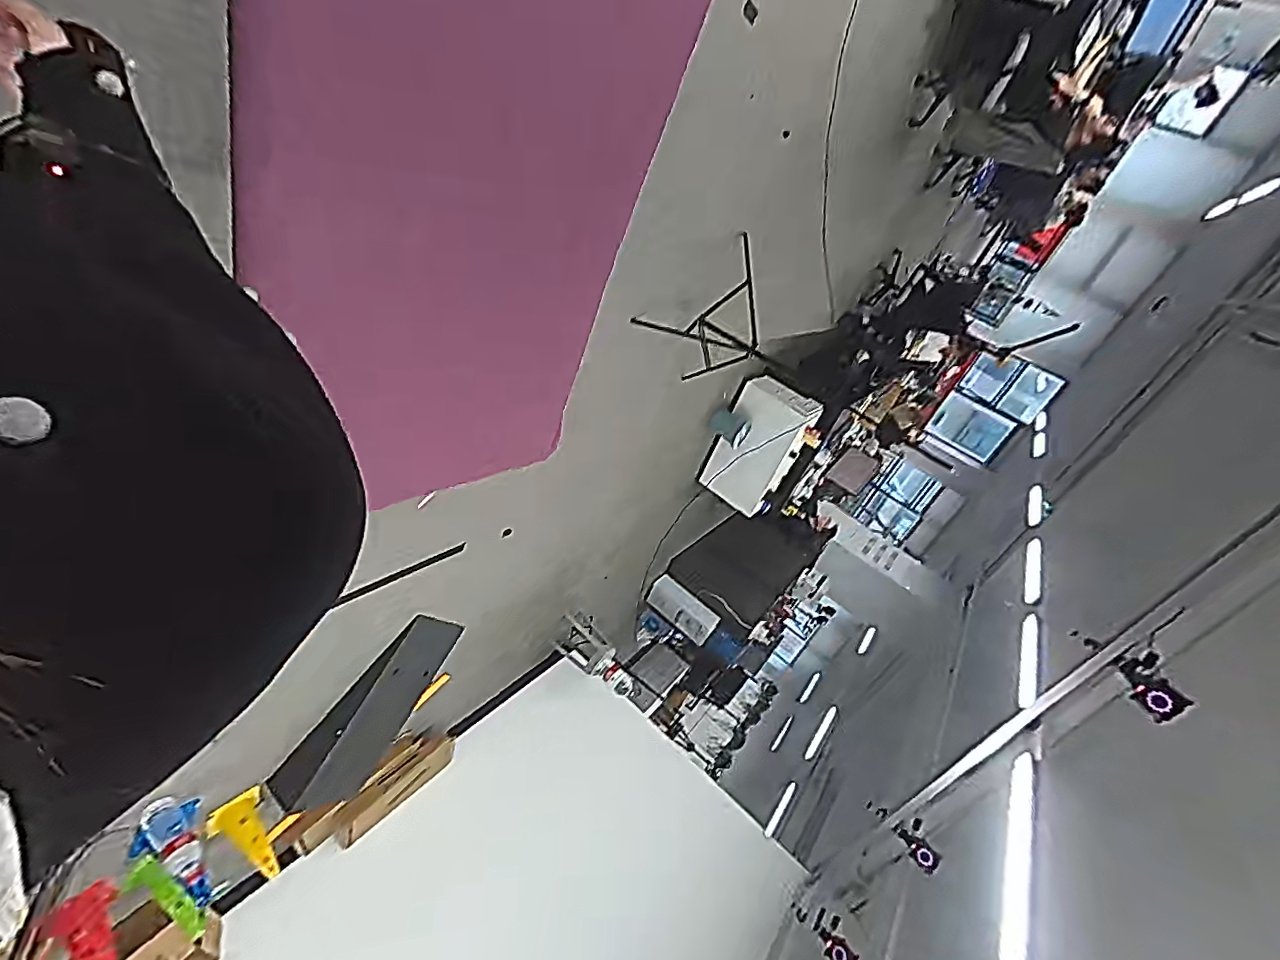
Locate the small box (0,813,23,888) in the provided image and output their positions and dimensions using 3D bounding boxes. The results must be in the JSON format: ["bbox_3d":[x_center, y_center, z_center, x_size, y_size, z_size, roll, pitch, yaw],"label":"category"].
[{"bbox_3d":[-1.363,0.733,1.043,0.179,0.176,0.168,-26,148,-50],"label":"small box"}]
